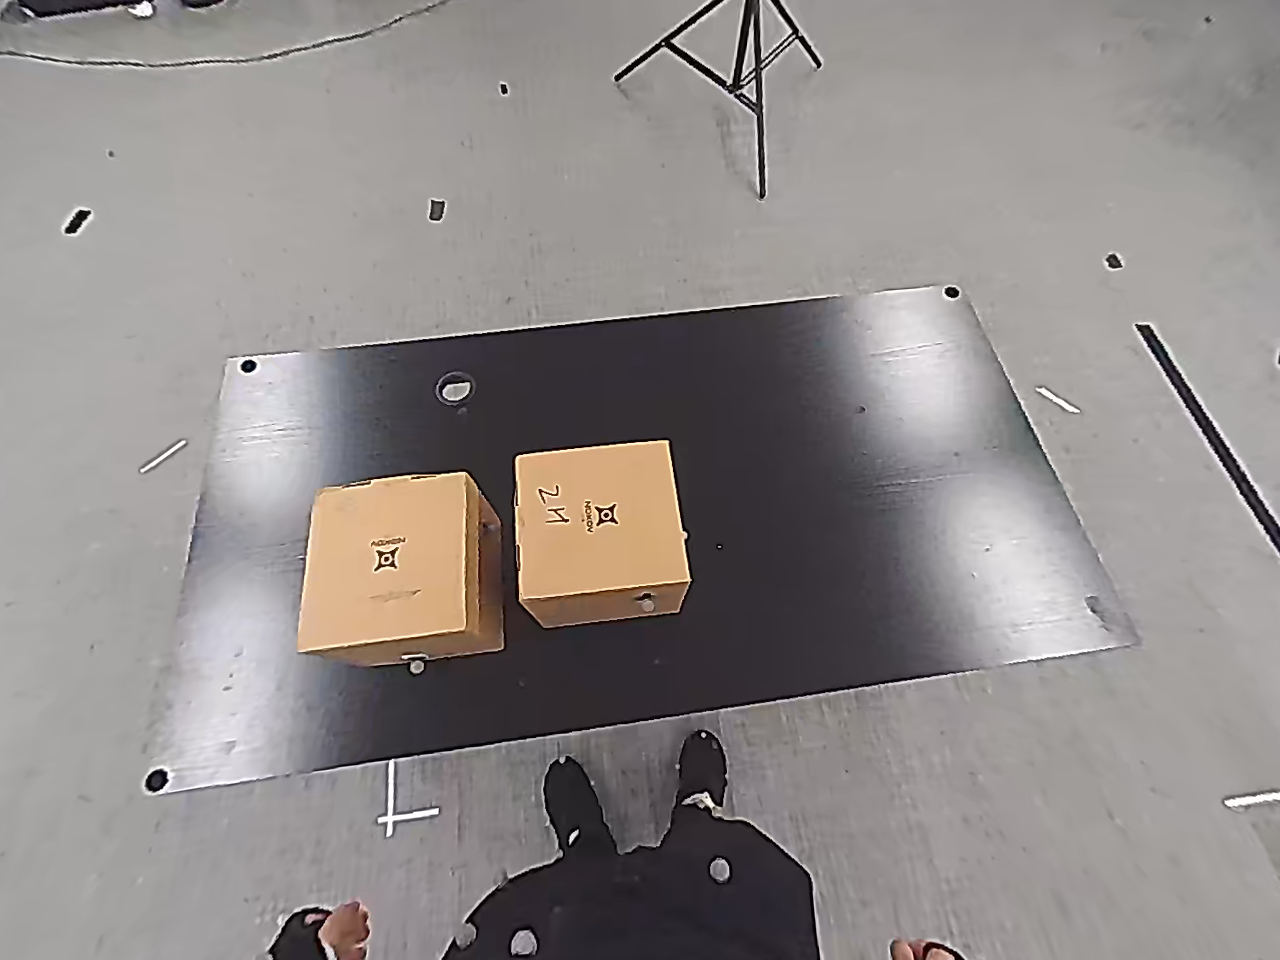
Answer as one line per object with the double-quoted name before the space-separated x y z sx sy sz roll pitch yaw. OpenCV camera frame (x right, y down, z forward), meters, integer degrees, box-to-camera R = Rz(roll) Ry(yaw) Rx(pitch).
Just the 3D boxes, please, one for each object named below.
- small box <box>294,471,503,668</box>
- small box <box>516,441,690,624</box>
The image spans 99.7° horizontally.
"small box" -0.260 0.110 0.625 0.168 0.176 0.179 -8 67 -3
"small box" -0.045 0.069 0.642 0.179 0.176 0.168 -6 66 -3
